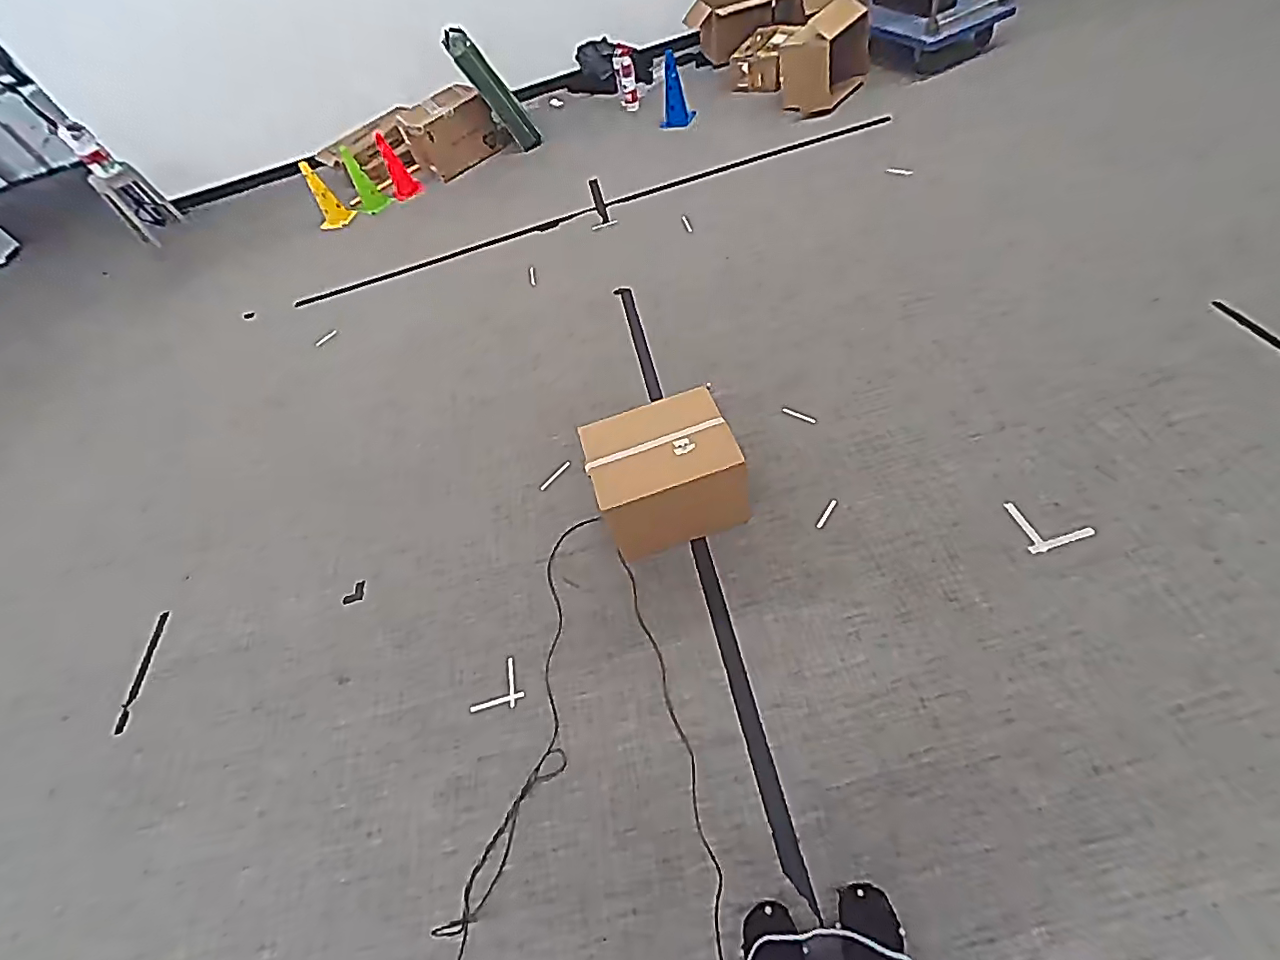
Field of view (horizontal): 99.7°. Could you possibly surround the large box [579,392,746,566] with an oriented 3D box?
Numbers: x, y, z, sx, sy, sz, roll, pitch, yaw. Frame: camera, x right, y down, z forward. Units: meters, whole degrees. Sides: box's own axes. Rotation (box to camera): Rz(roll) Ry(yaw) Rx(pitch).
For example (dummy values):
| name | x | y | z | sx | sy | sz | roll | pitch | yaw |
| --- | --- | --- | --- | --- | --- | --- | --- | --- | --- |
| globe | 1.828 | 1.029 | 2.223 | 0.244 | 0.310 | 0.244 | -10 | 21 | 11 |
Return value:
| name | x | y | z | sx | sy | sz | roll | pitch | yaw |
| --- | --- | --- | --- | --- | --- | --- | --- | --- | --- |
| large box | 0.072 | 0.002 | 1.617 | 0.408 | 0.320 | 0.320 | -19 | 53 | -1 |
